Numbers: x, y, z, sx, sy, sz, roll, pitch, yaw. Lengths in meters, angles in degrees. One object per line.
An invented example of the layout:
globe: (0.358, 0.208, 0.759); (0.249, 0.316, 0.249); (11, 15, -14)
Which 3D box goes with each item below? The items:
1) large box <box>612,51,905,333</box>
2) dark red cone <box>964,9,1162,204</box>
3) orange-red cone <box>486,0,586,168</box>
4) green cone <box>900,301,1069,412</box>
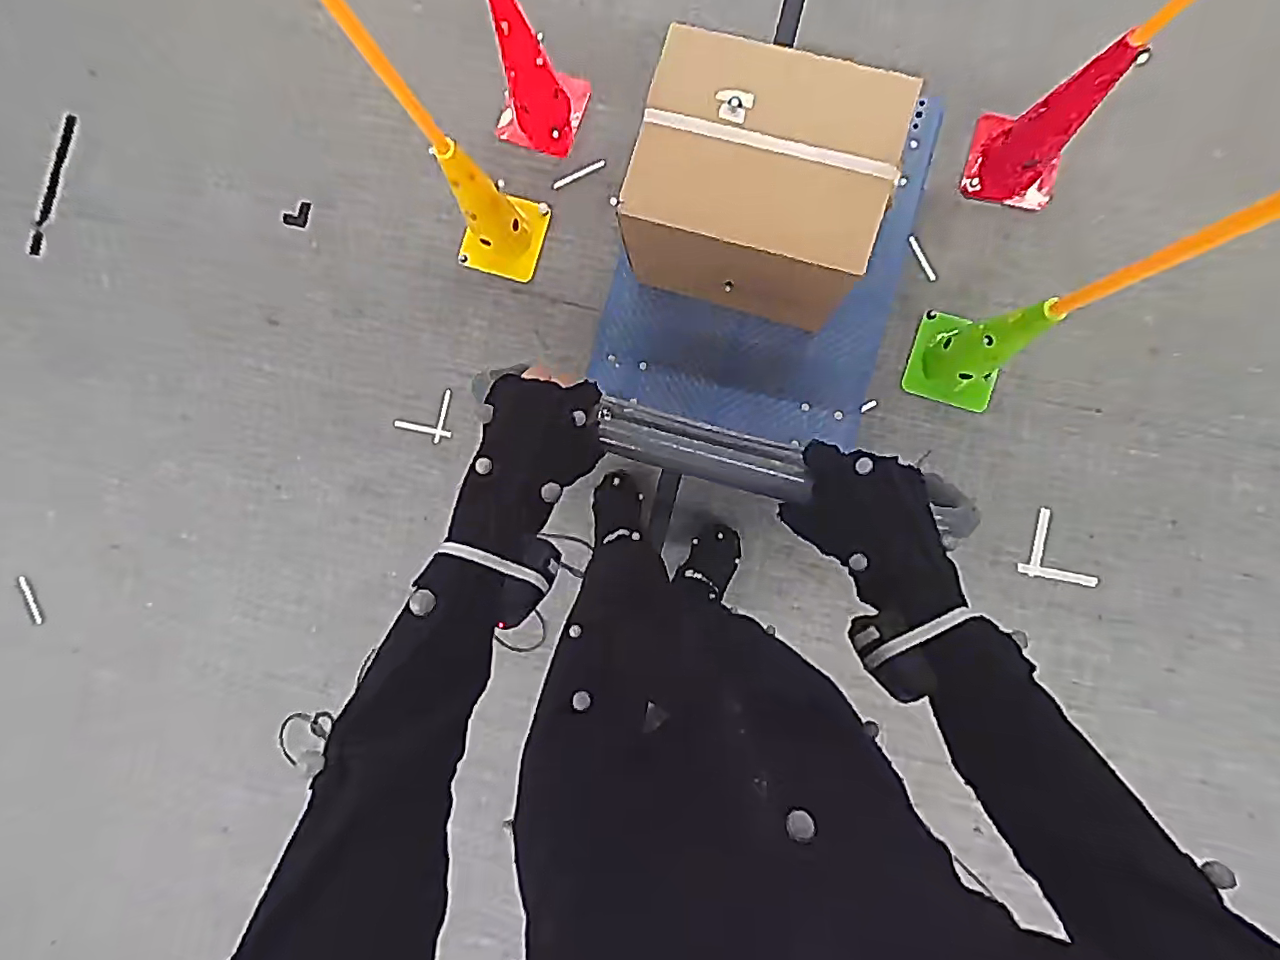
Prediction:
large box: (0.202, -0.500, 1.008); (0.408, 0.320, 0.320); (17, 91, 6)
dark red cone: (0.847, -0.747, 1.078); (0.201, 0.394, 0.202); (13, 90, 4)
orange-red cone: (-0.267, -0.919, 1.209); (0.198, 0.360, 0.199); (21, 89, 5)
green cone: (0.717, -0.279, 1.095); (0.202, 0.368, 0.200); (17, 90, 4)
